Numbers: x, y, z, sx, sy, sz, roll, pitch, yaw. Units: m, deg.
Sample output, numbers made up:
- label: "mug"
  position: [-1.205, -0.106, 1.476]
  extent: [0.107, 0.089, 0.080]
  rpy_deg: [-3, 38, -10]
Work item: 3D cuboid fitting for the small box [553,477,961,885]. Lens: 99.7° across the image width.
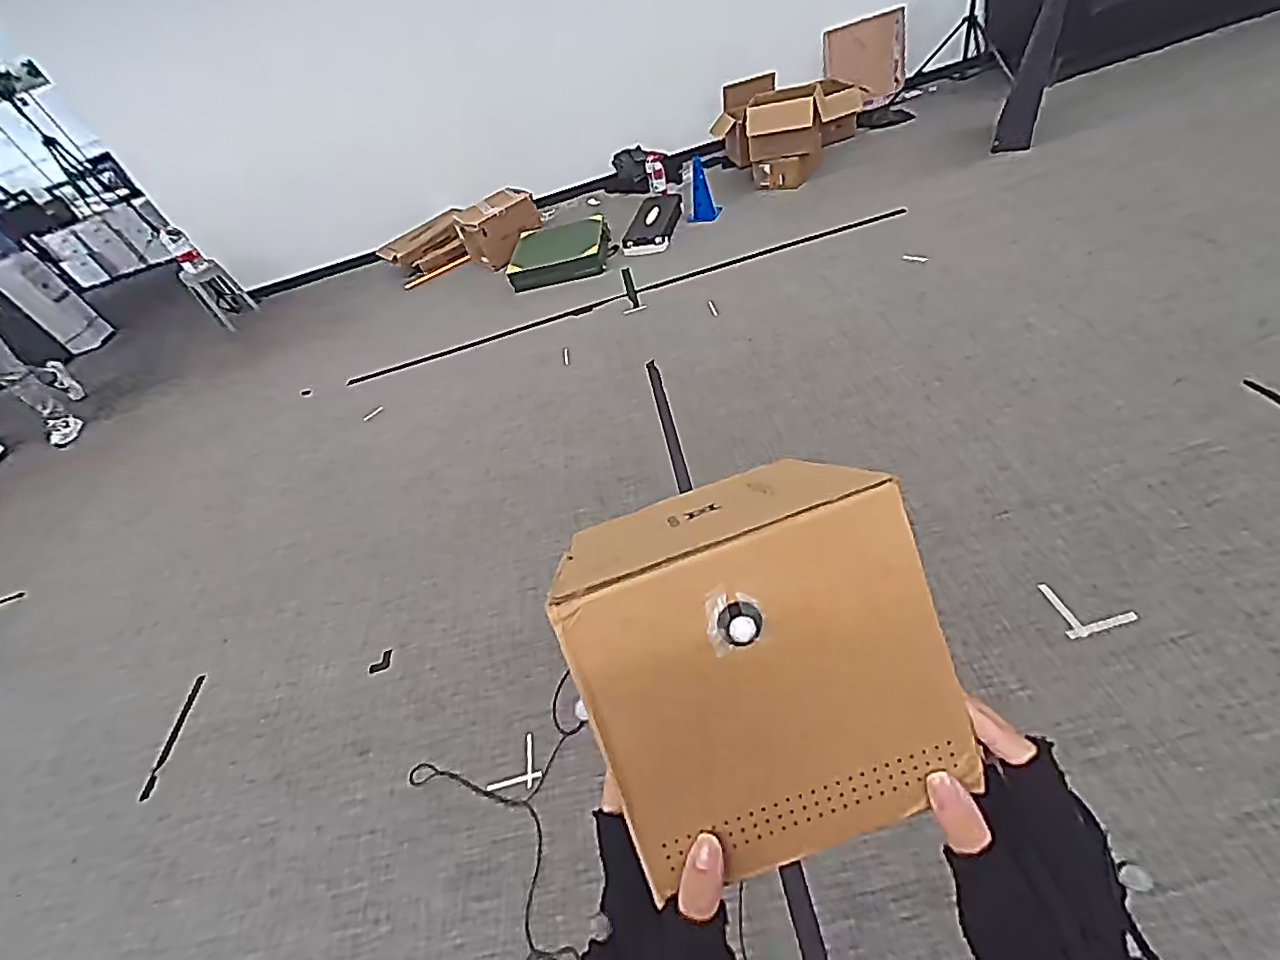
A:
- label: "small box"
  position: [0.064, 0.109, 0.351]
  extent: [0.179, 0.176, 0.168]
  rpy_deg: [-20, 5, 0]
